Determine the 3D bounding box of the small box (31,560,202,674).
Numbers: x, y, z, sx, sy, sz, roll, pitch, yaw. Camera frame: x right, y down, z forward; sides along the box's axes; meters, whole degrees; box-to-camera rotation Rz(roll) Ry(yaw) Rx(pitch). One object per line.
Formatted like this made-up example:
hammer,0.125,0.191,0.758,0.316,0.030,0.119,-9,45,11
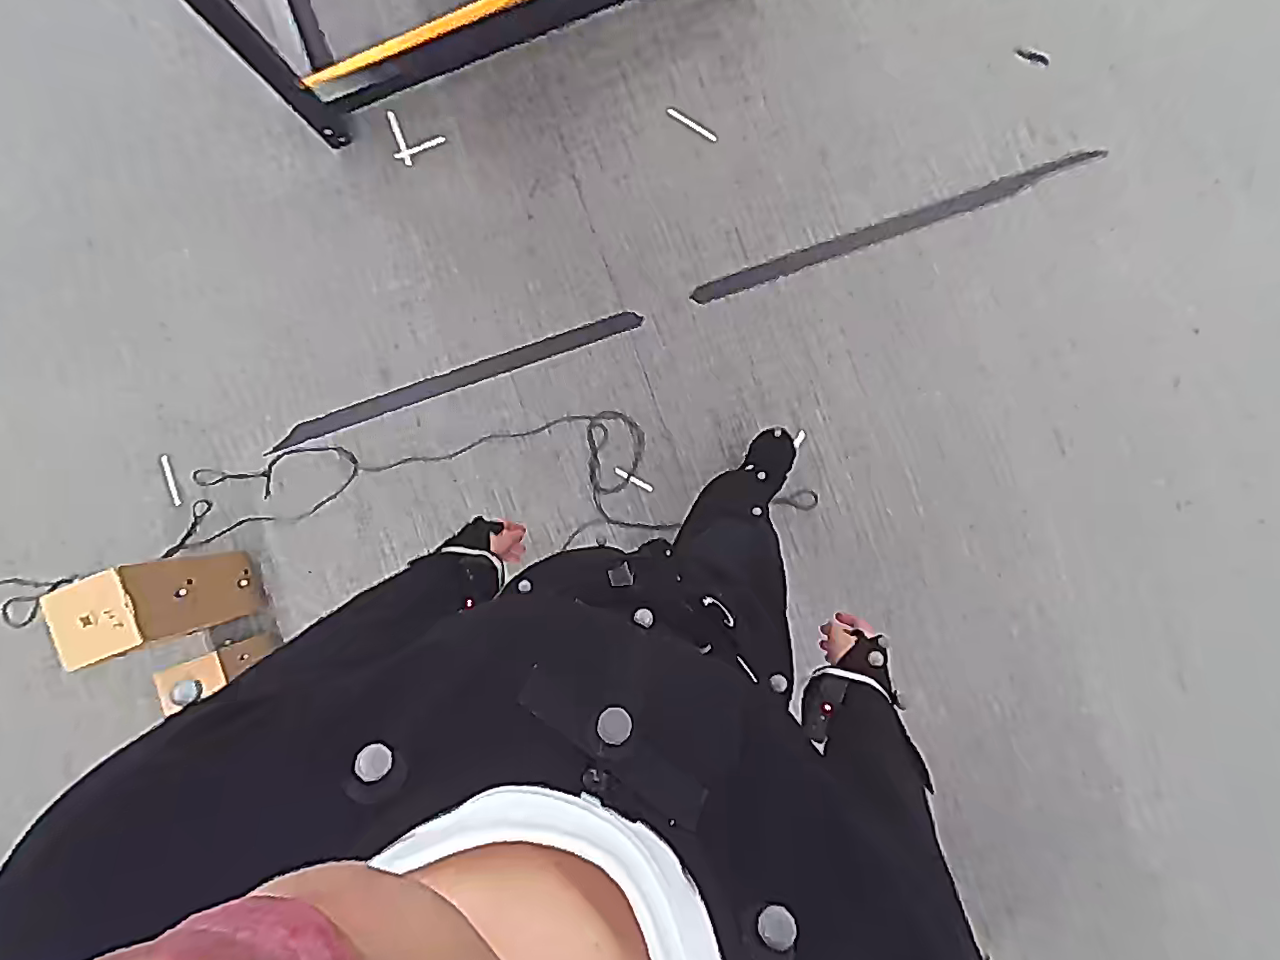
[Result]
small box,-1.090,0.280,1.140,0.179,0.176,0.168,-21,89,1

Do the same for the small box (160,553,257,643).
small box,-1.084,0.285,1.305,0.179,0.176,0.168,-19,88,1
